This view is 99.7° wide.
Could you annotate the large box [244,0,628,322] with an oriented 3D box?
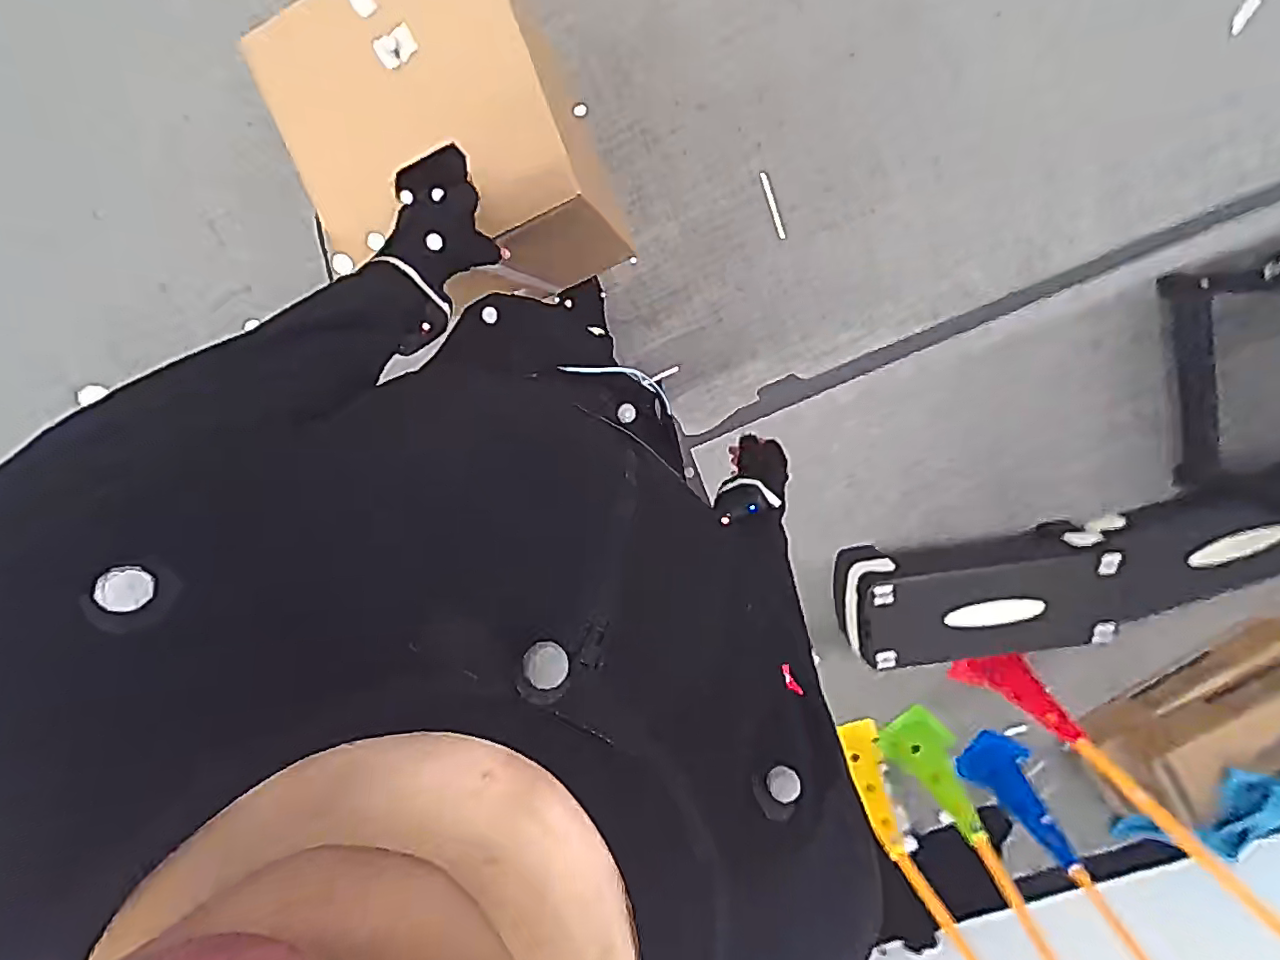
[{"bbox_3d":[-0.249,-0.451,0.812,0.320,0.408,0.320,-20,100,13],"label":"large box"}]
